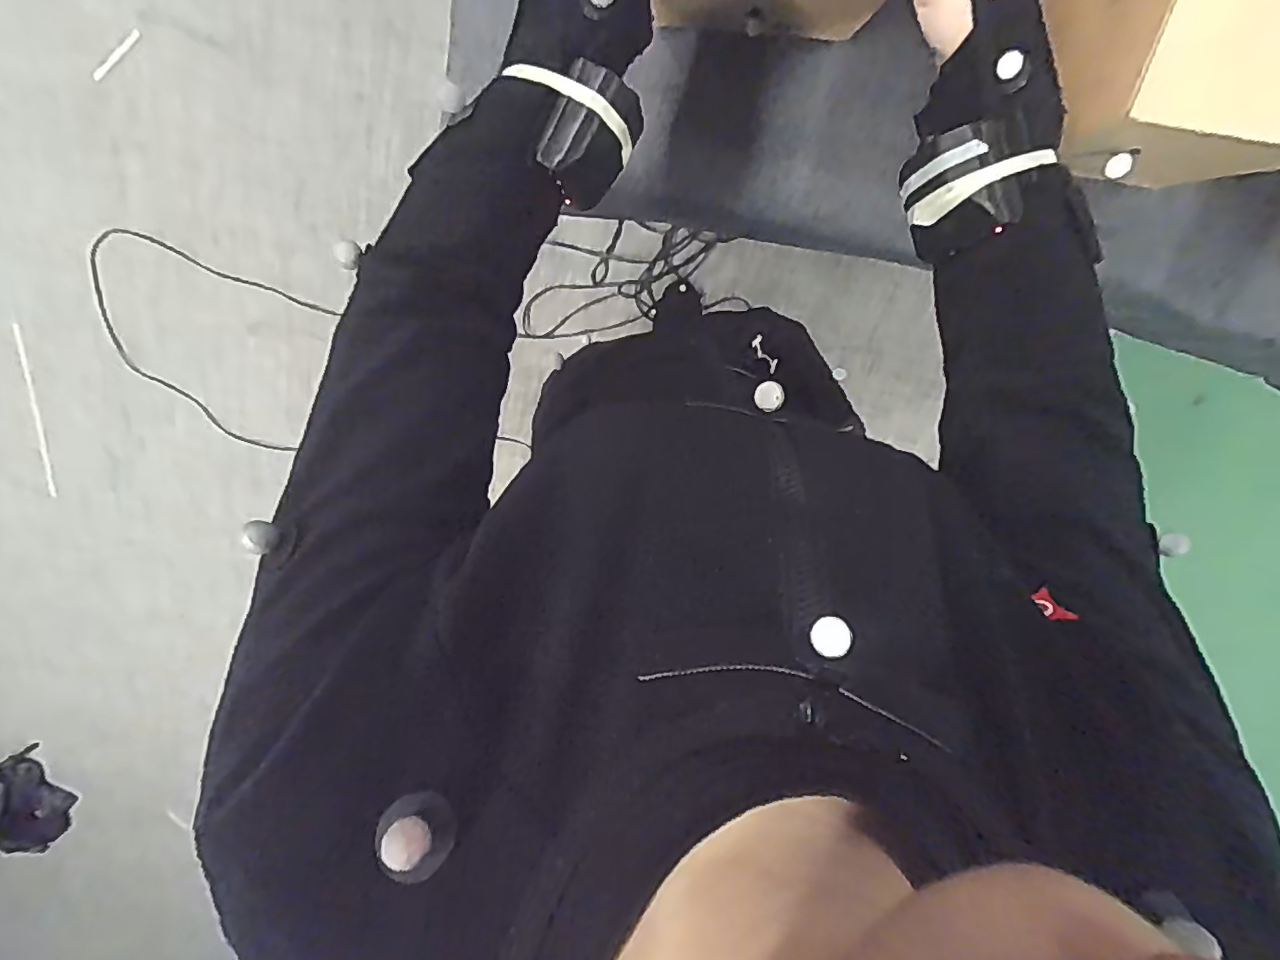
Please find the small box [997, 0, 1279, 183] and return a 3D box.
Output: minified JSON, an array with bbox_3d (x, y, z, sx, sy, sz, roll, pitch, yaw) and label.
[{"bbox_3d":[0.402,-0.328,0.388,0.168,0.176,0.179,8,112,-2],"label":"small box"}]
